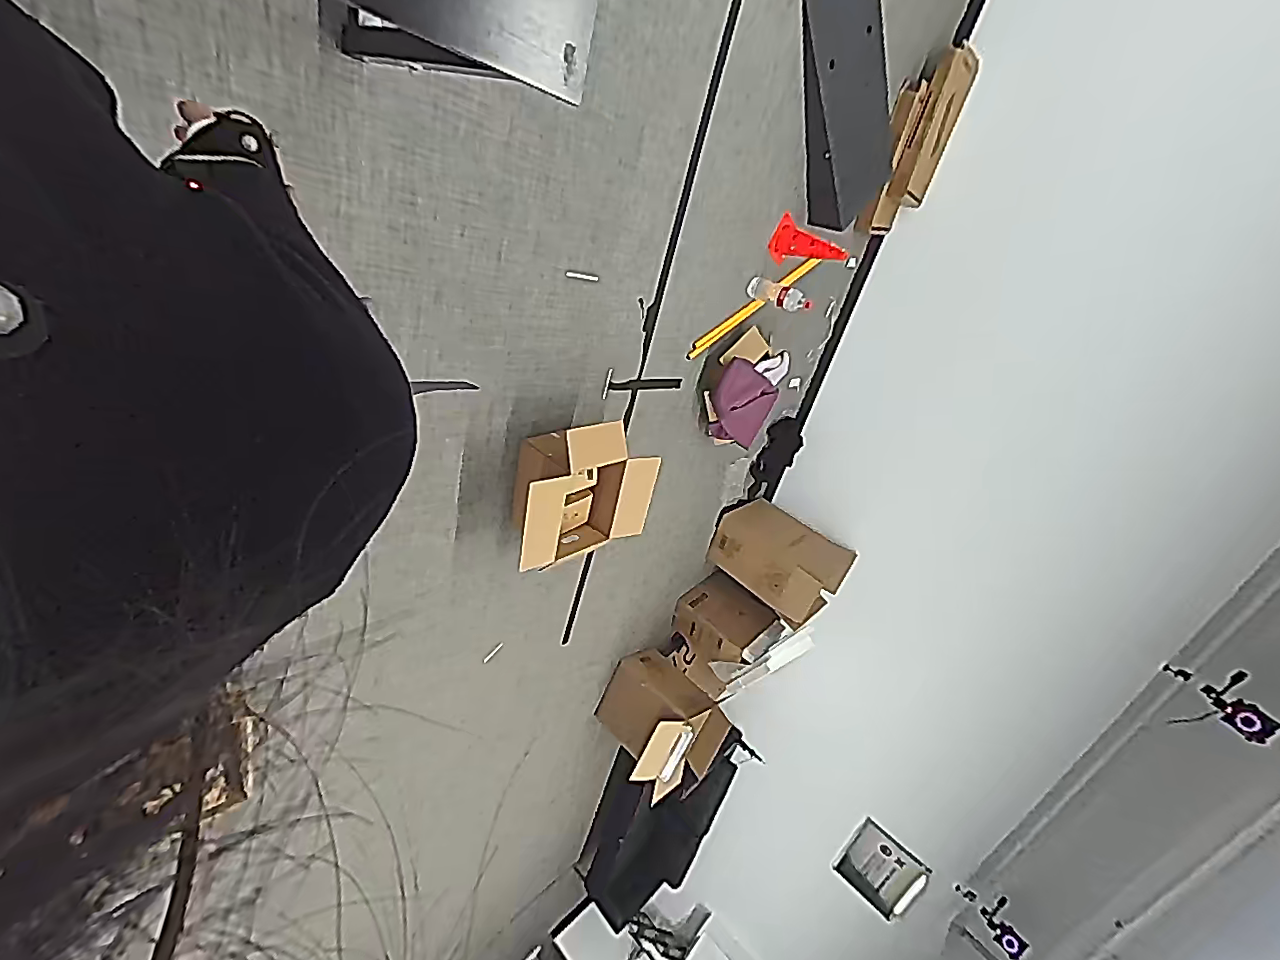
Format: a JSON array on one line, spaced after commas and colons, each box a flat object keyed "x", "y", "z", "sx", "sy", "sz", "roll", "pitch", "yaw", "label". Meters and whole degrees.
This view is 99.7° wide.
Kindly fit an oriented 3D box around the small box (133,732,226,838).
[{"x": -1.339, "y": 0.876, "z": 1.575, "sx": 0.179, "sy": 0.176, "sz": 0.168, "roll": -10, "pitch": 124, "yaw": -47, "label": "small box"}]

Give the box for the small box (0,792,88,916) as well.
[{"x": -1.531, "y": 0.928, "z": 1.363, "sx": 0.168, "sy": 0.176, "sz": 0.179, "roll": -10, "pitch": 123, "yaw": -51, "label": "small box"}]
